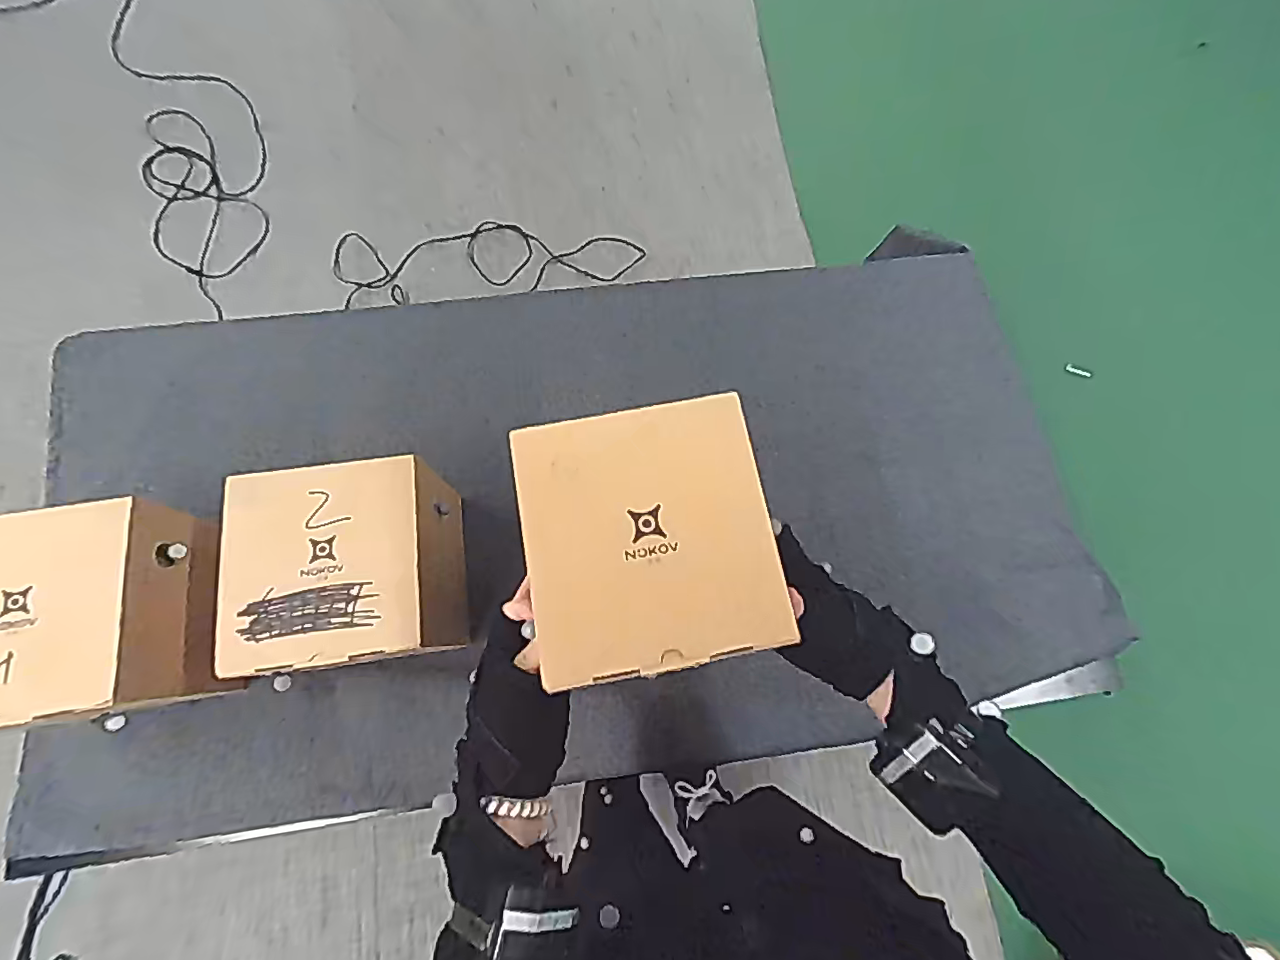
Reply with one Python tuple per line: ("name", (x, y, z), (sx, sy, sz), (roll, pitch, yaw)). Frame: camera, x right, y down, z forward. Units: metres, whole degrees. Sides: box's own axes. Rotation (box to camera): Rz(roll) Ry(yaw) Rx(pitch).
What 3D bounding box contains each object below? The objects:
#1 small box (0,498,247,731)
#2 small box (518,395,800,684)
("small box", (-0.509, 0.132, 0.512), (0.168, 0.176, 0.179), (-9, 74, -7))
("small box", (0.006, 0.054, 0.438), (0.168, 0.176, 0.179), (-10, 75, -4))
